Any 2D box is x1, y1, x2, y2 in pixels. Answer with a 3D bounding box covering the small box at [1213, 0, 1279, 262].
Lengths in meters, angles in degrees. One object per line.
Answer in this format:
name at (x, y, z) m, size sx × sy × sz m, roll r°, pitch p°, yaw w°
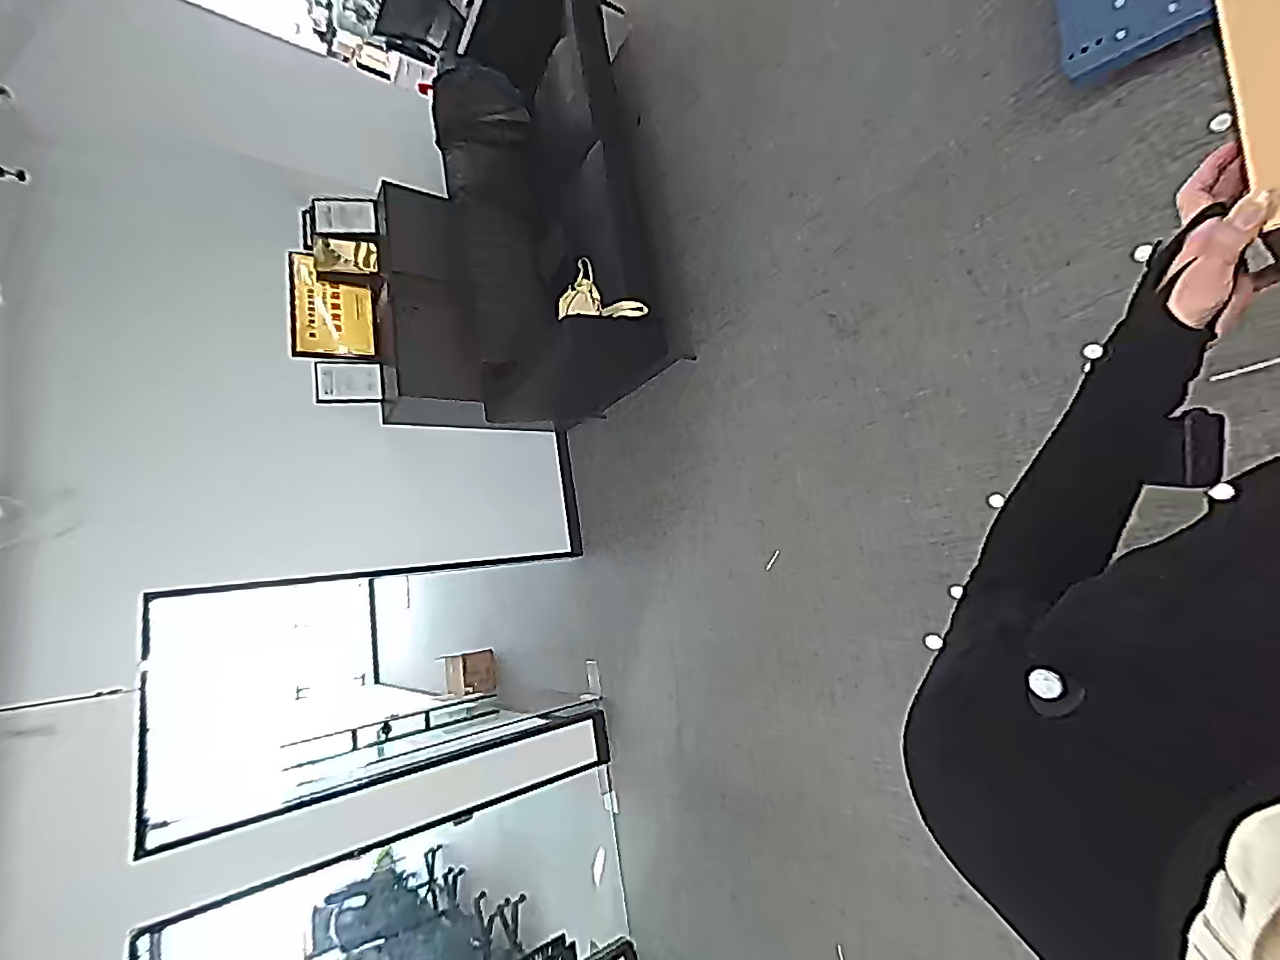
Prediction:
small box at (0.513, -0.264, 0.353) m, size 0.168 × 0.176 × 0.179 m, roll -9°, pitch 86°, yaw 54°
